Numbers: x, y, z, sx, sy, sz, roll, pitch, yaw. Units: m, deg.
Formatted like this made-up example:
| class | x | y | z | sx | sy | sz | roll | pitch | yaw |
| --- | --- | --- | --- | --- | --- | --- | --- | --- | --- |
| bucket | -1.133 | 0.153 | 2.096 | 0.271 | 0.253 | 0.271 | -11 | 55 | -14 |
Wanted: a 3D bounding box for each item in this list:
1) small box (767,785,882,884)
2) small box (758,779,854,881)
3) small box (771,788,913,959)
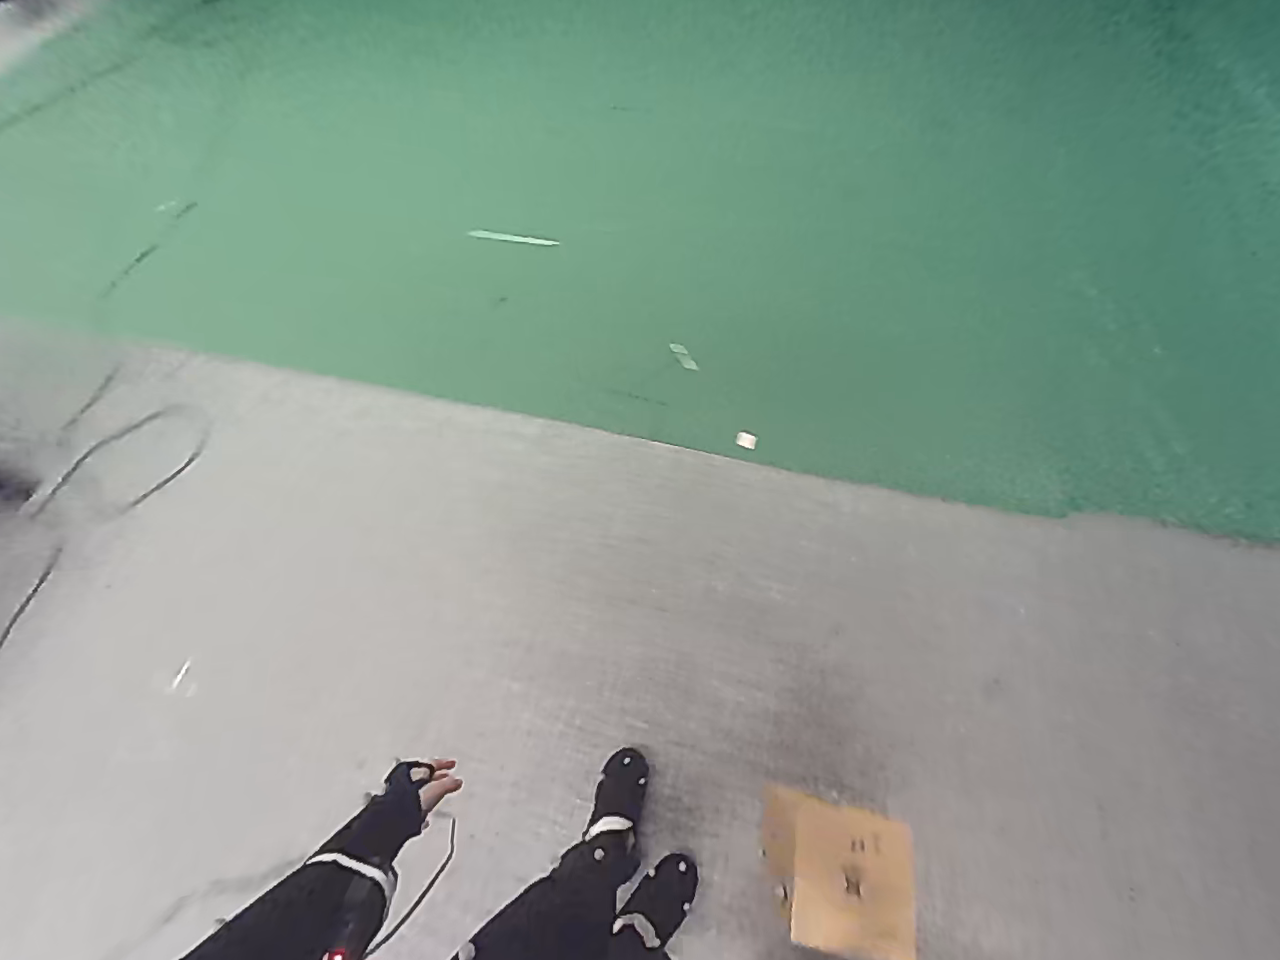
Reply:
| class | x | y | z | sx | sy | sz | roll | pitch | yaw |
| --- | --- | --- | --- | --- | --- | --- | --- | --- | --- |
| small box | 0.328 | 0.665 | 0.978 | 0.168 | 0.176 | 0.179 | 8 | 63 | 8 |
| small box | 0.343 | 0.737 | 1.125 | 0.168 | 0.176 | 0.179 | 8 | 62 | 8 |
| small box | 0.302 | 0.592 | 0.830 | 0.168 | 0.176 | 0.179 | 10 | 62 | 8 |
